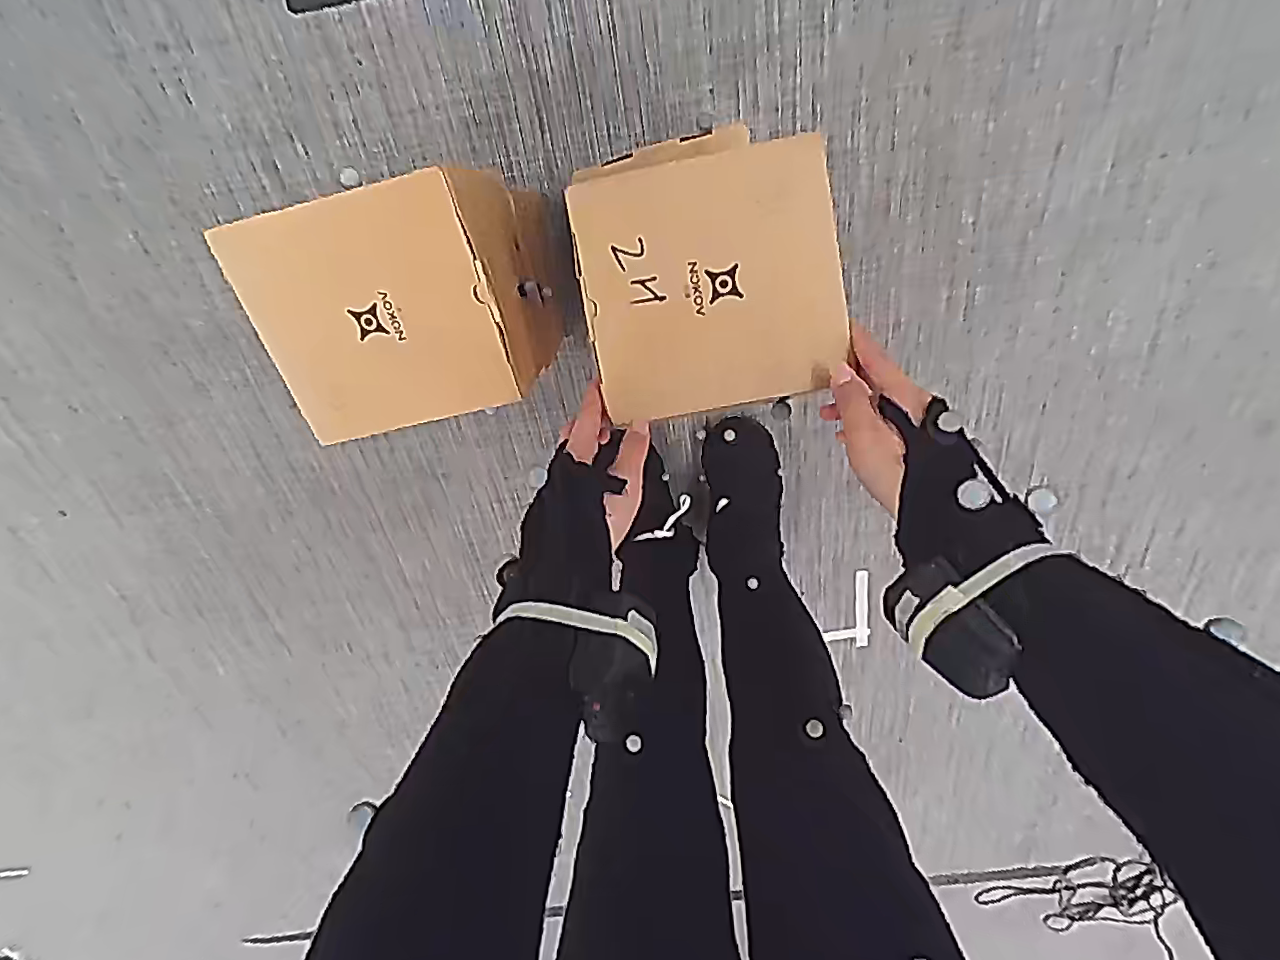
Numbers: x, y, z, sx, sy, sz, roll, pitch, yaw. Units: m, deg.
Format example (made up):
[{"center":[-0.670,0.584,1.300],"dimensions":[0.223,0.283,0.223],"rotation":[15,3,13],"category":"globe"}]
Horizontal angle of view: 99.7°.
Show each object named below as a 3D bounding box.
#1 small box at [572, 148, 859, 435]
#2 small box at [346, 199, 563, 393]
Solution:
[{"center":[0.054,-0.132,0.445],"dimensions":[0.179,0.176,0.168],"rotation":[-10,93,4],"category":"small box"},{"center":[-0.189,-0.214,0.614],"dimensions":[0.168,0.176,0.179],"rotation":[-6,116,2],"category":"small box"}]
